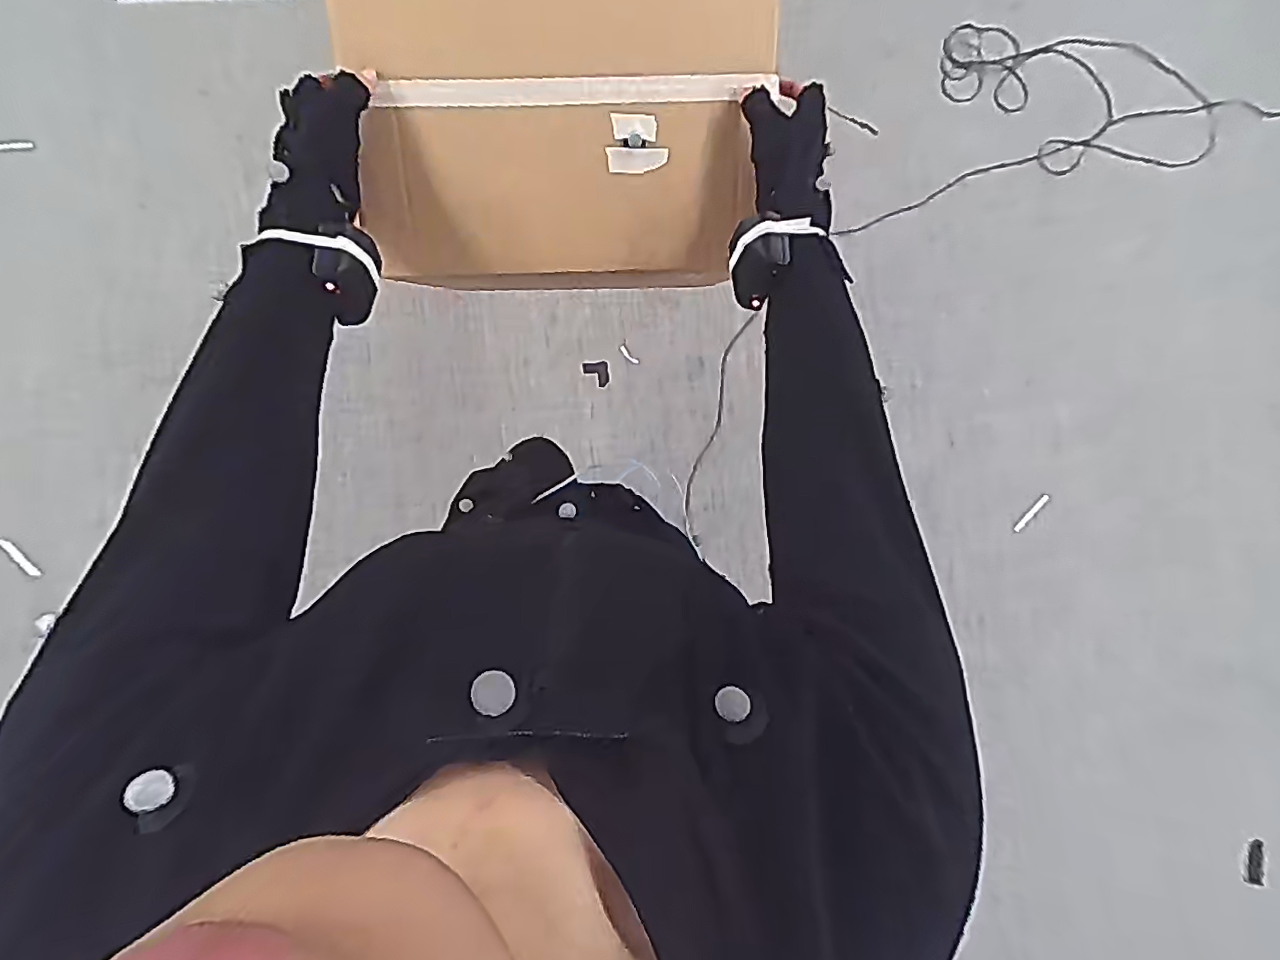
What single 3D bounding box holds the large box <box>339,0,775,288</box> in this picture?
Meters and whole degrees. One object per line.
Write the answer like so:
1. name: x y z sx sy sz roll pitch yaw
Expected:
1. large box: -0.080 -0.412 0.654 0.408 0.320 0.320 -3 107 -3
